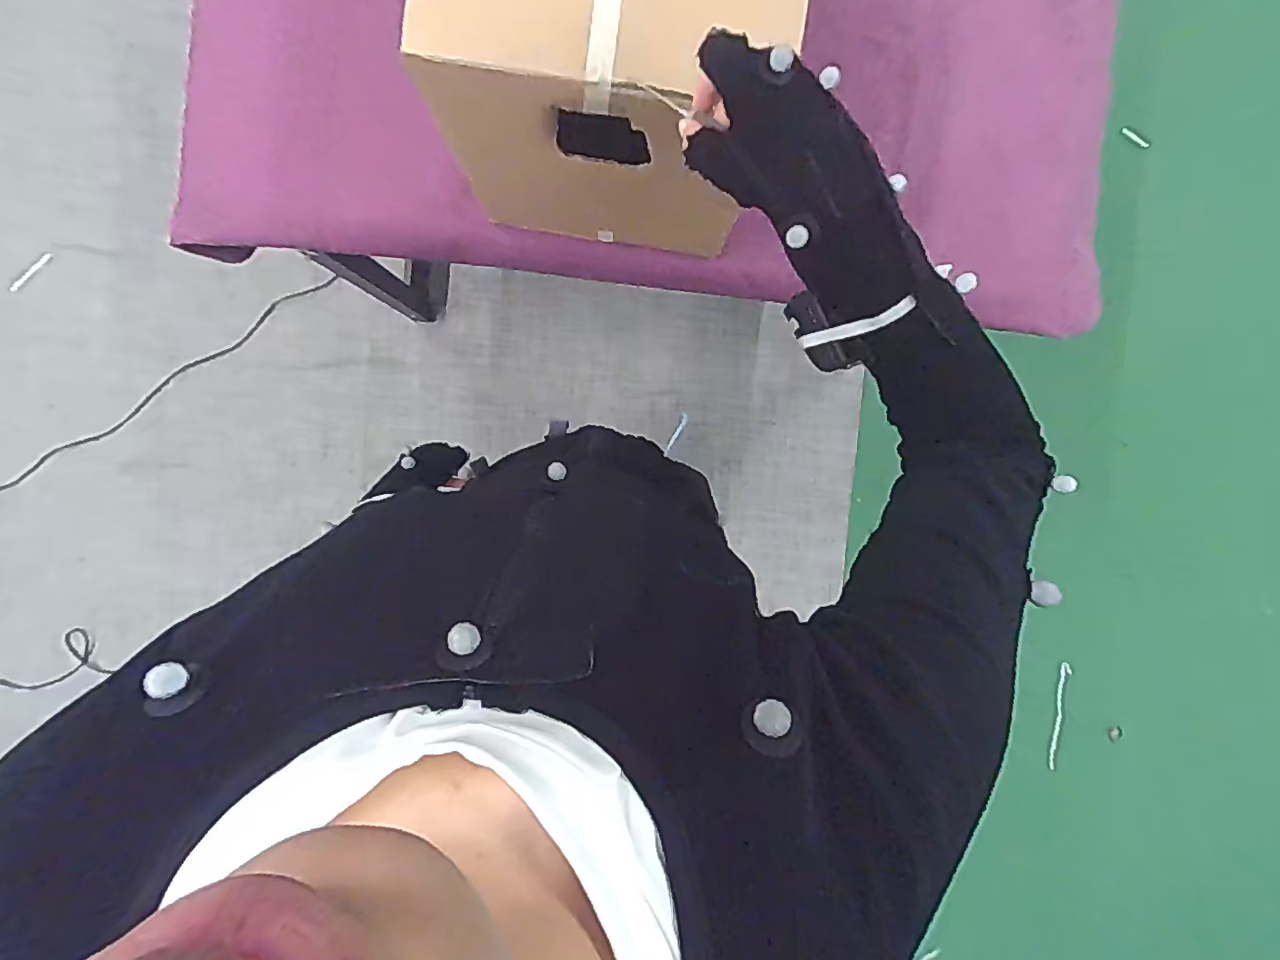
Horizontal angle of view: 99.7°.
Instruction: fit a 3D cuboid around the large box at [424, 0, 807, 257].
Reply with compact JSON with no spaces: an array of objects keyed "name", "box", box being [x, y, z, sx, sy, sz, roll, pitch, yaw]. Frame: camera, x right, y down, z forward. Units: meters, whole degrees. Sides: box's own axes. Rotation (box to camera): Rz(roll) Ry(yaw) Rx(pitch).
[{"name":"large box","box":[-0.009,-0.518,0.588,0.320,0.320,0.408,9,93,-3]}]
